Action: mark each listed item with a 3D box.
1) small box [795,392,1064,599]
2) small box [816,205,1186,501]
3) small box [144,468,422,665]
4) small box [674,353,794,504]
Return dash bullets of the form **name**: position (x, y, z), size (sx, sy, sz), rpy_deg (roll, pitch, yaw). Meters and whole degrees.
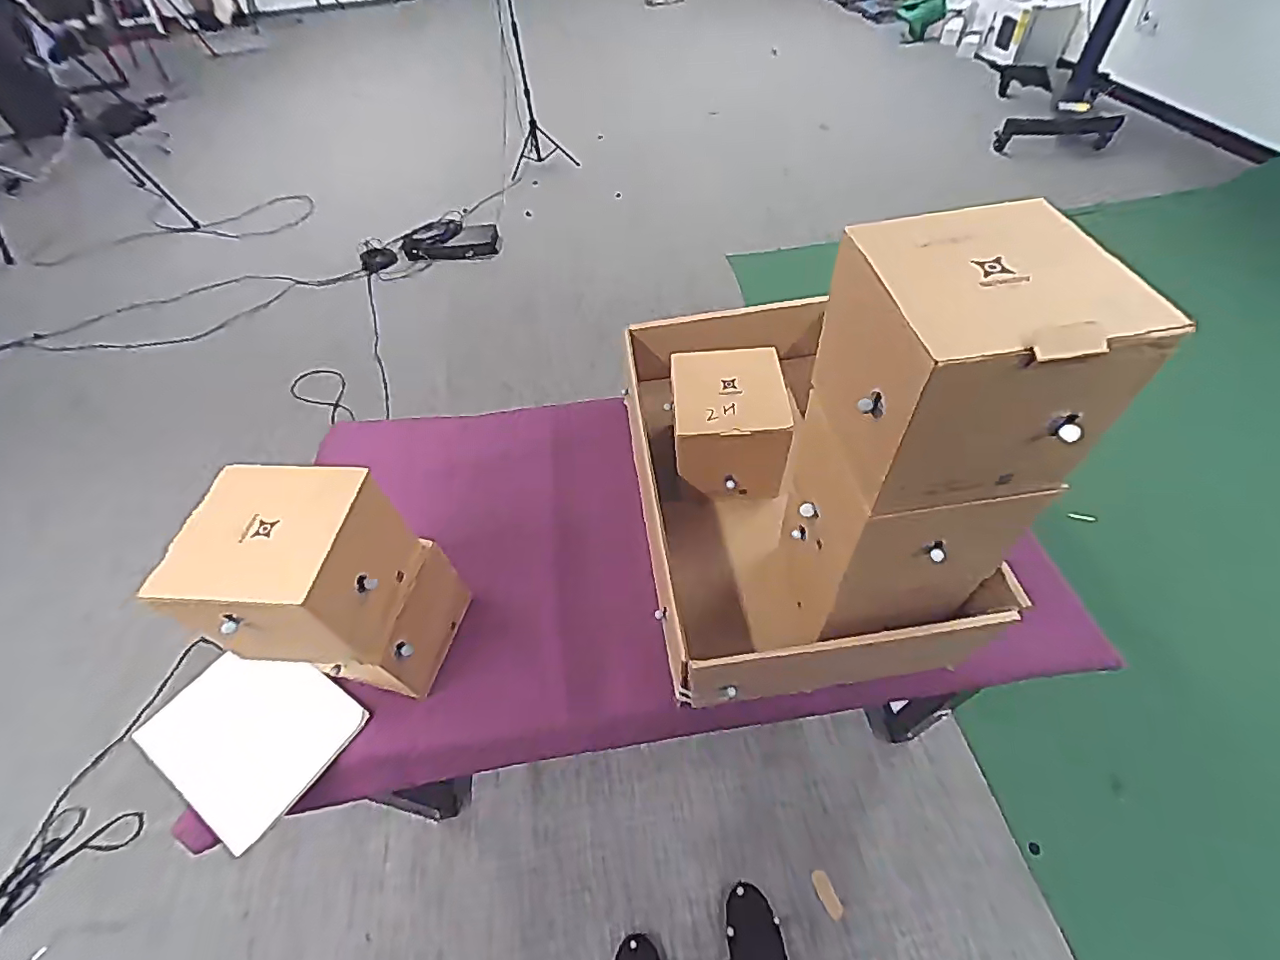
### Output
- **small box**: position (0.279, 0.010, 0.574), size (0.179, 0.176, 0.168), rpy_deg (-9, 51, 1)
- **small box**: position (0.261, -0.096, 0.451), size (0.168, 0.176, 0.179), rpy_deg (-8, 51, 1)
- **small box**: position (-0.380, 0.103, 0.621), size (0.179, 0.176, 0.168), rpy_deg (1, 52, 6)
- **small box**: position (0.138, -0.080, 0.868), size (0.168, 0.176, 0.179), rpy_deg (-3, 53, 3)
